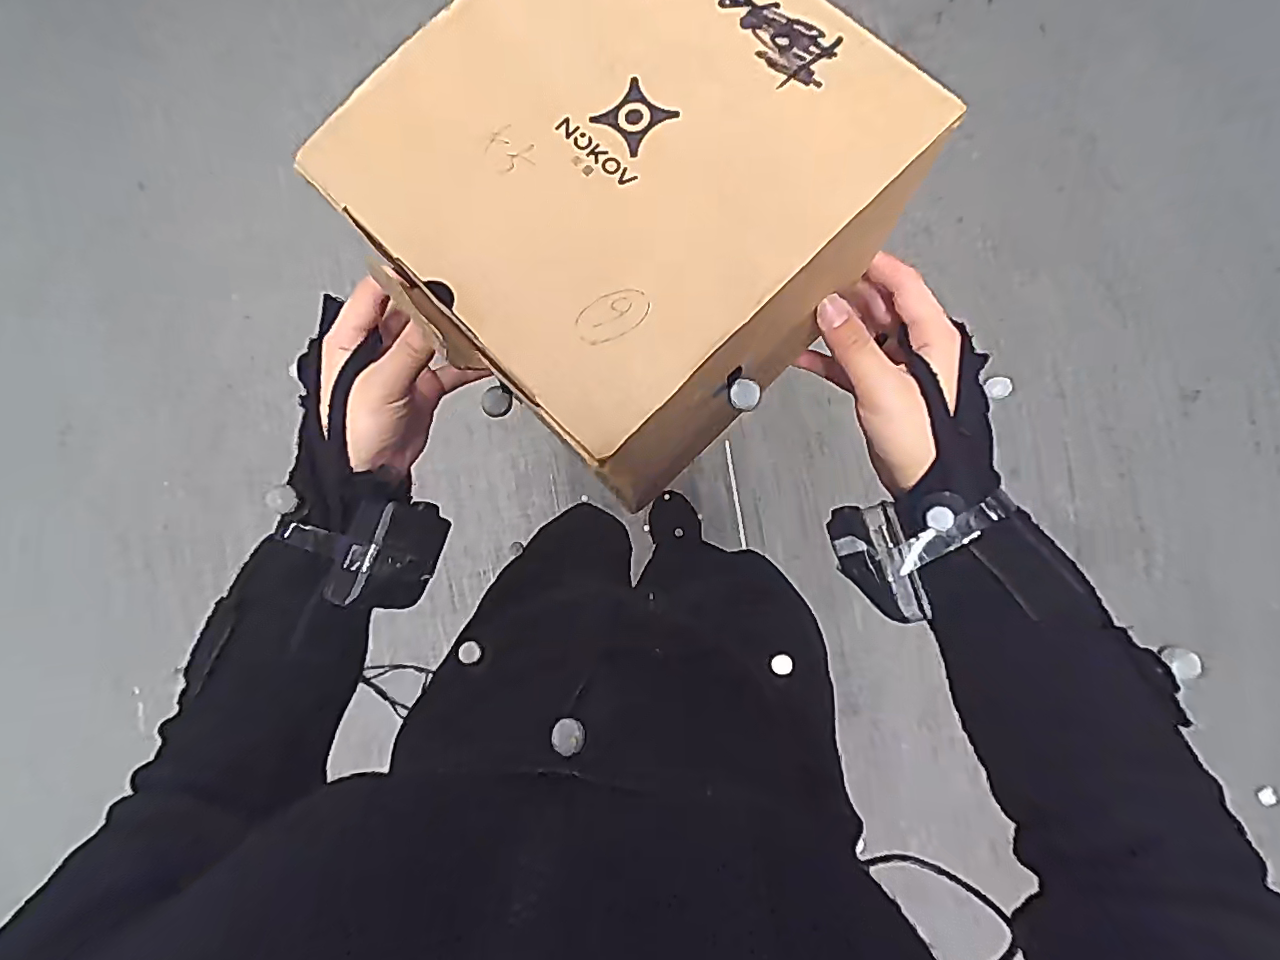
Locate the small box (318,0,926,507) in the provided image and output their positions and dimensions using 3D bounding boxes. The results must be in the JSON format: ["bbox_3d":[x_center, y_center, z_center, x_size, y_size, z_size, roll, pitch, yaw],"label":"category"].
[{"bbox_3d":[-0.005,-0.103,0.281,0.168,0.176,0.179,44,87,9],"label":"small box"}]
